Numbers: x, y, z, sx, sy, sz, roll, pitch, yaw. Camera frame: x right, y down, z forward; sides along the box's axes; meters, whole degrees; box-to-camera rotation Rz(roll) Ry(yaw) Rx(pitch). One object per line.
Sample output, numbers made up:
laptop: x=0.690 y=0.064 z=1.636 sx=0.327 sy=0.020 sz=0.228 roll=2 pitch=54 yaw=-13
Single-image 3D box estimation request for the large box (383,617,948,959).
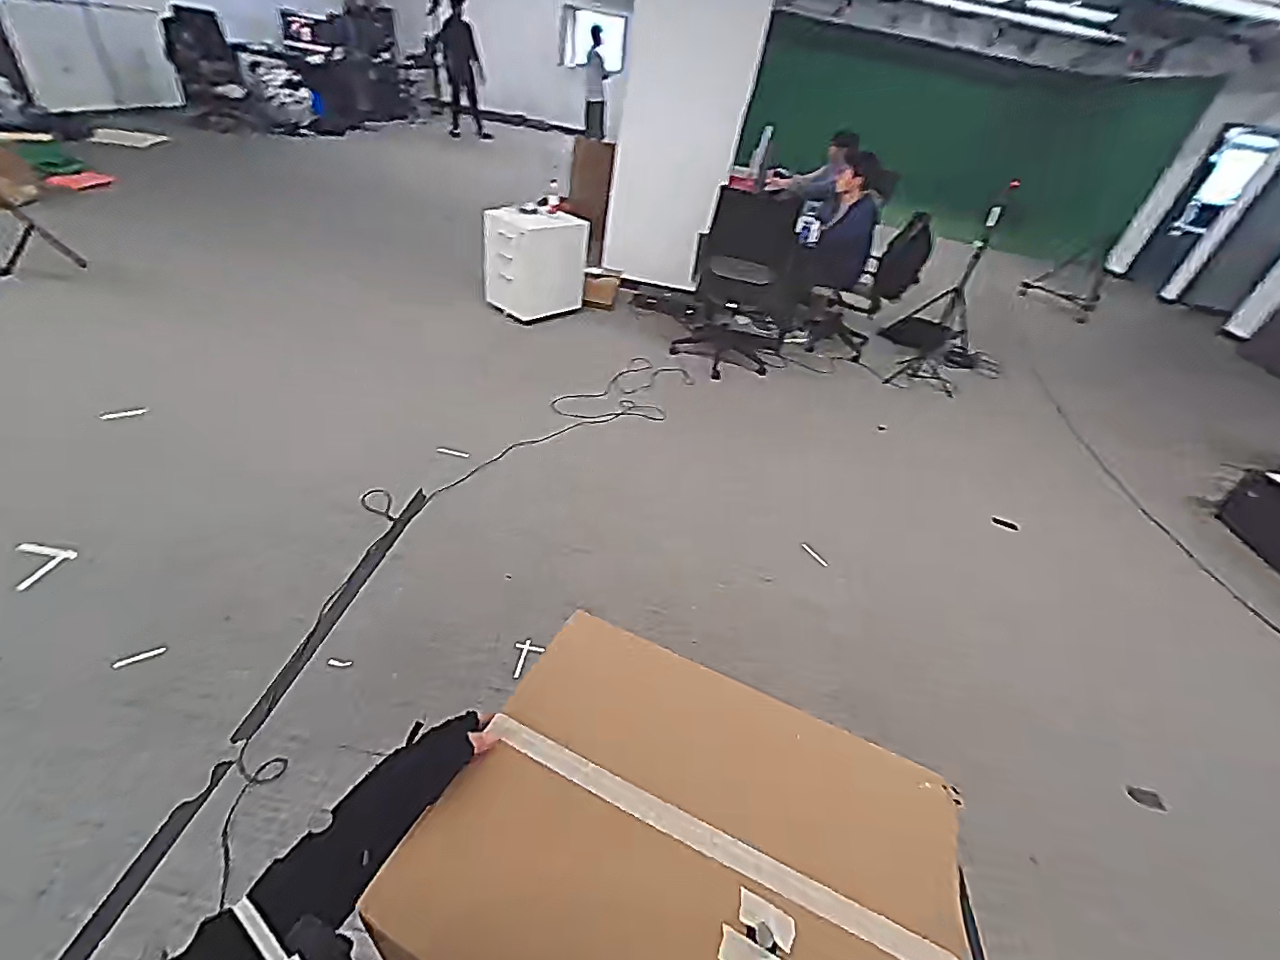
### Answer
large box: x=0.029 y=0.413 z=0.540 sx=0.408 sy=0.320 sz=0.320 roll=21 pitch=38 yaw=16
